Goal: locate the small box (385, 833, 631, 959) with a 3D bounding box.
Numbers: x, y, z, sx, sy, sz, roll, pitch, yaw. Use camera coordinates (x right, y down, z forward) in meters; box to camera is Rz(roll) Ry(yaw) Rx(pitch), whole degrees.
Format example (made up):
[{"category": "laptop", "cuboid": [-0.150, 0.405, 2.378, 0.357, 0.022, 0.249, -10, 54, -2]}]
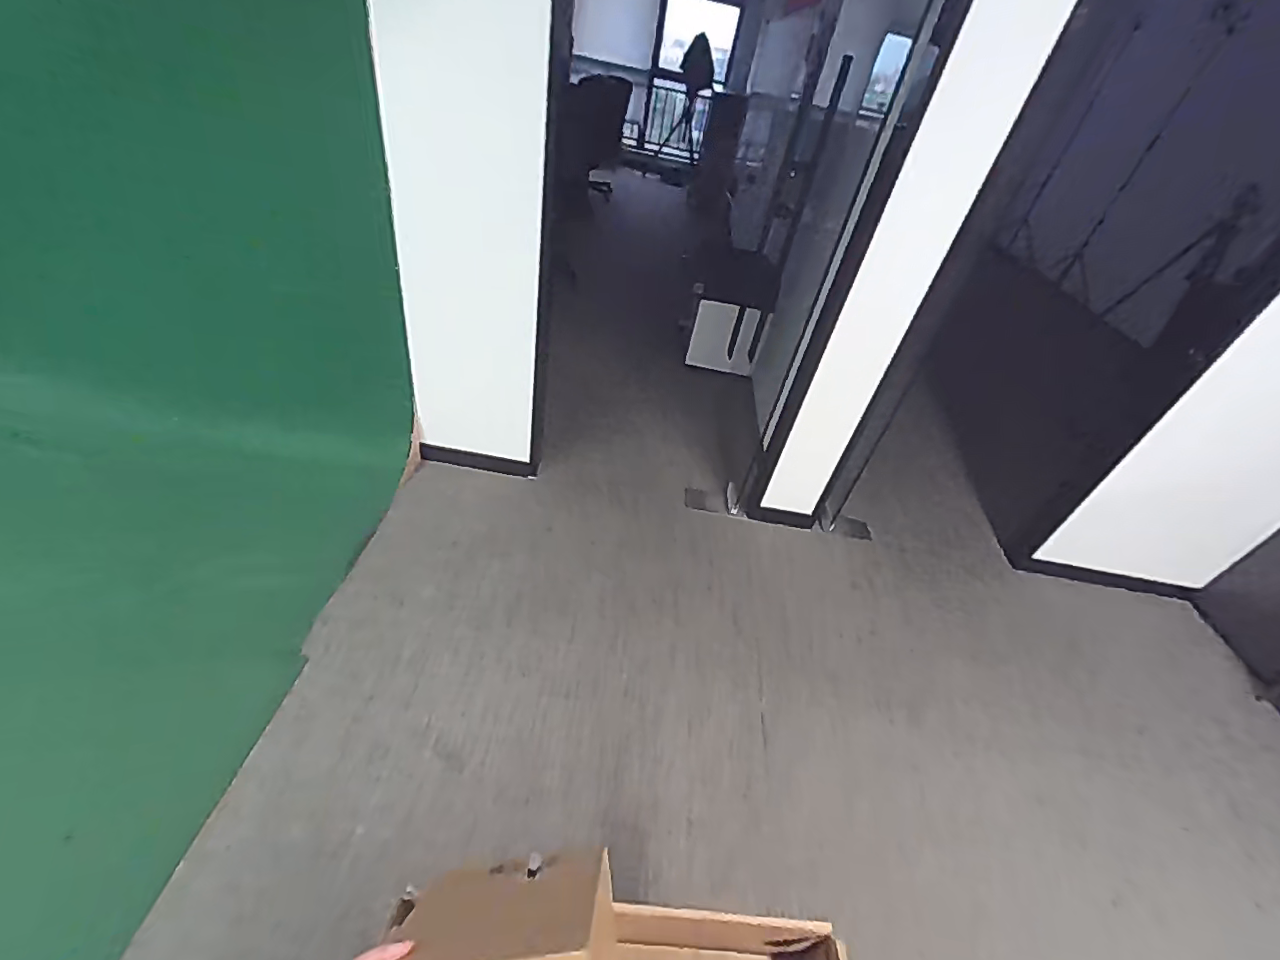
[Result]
[{"category": "small box", "cuboid": [-0.094, 0.433, 0.445, 0.168, 0.176, 0.179, -8, 81, 0]}]
